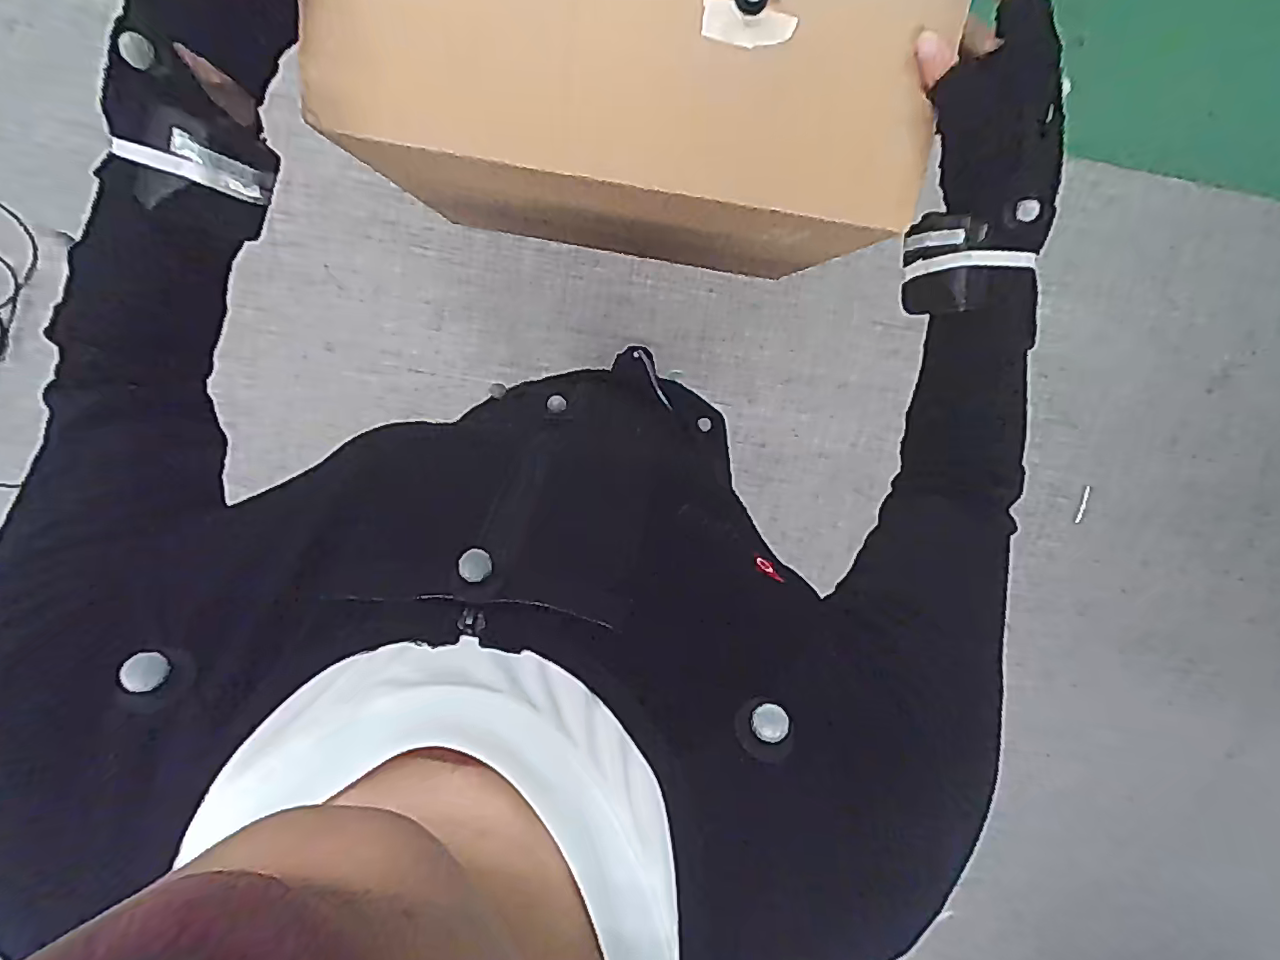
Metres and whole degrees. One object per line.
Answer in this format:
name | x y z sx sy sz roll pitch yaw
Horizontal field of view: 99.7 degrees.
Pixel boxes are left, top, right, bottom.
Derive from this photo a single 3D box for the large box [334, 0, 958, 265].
large box | 0.008 -0.395 0.476 0.408 0.320 0.320 7 105 -4
